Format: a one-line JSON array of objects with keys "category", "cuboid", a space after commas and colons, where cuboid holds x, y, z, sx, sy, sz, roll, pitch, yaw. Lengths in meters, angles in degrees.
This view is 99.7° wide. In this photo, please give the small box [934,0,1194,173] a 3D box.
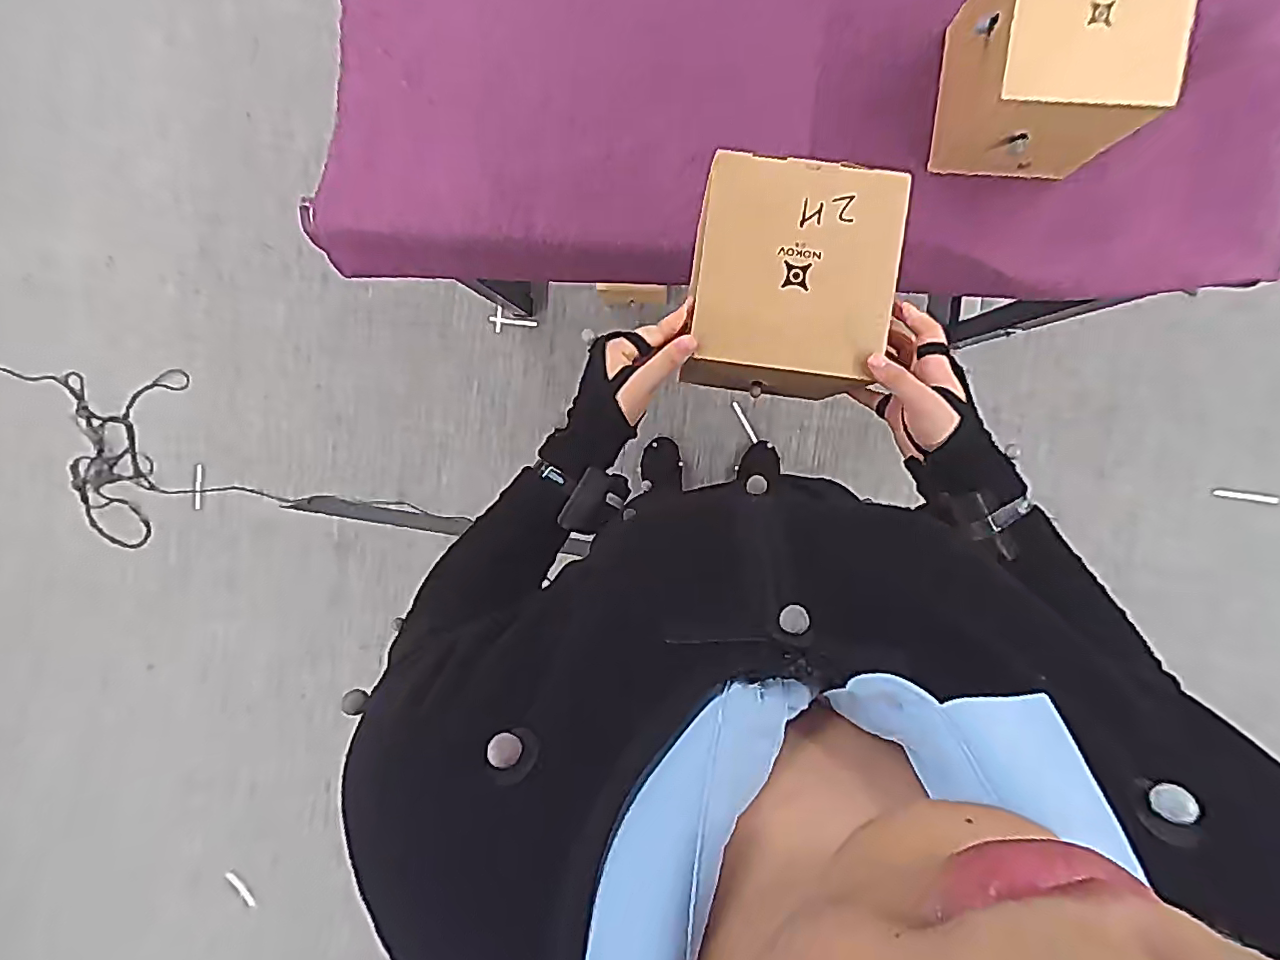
[{"category": "small box", "cuboid": [0.453, -0.468, 0.601, 0.168, 0.176, 0.179, 6, 96, 4]}]

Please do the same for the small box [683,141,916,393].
[{"category": "small box", "cuboid": [0.137, -0.188, 0.531, 0.168, 0.176, 0.179, 8, 92, 0]}]
